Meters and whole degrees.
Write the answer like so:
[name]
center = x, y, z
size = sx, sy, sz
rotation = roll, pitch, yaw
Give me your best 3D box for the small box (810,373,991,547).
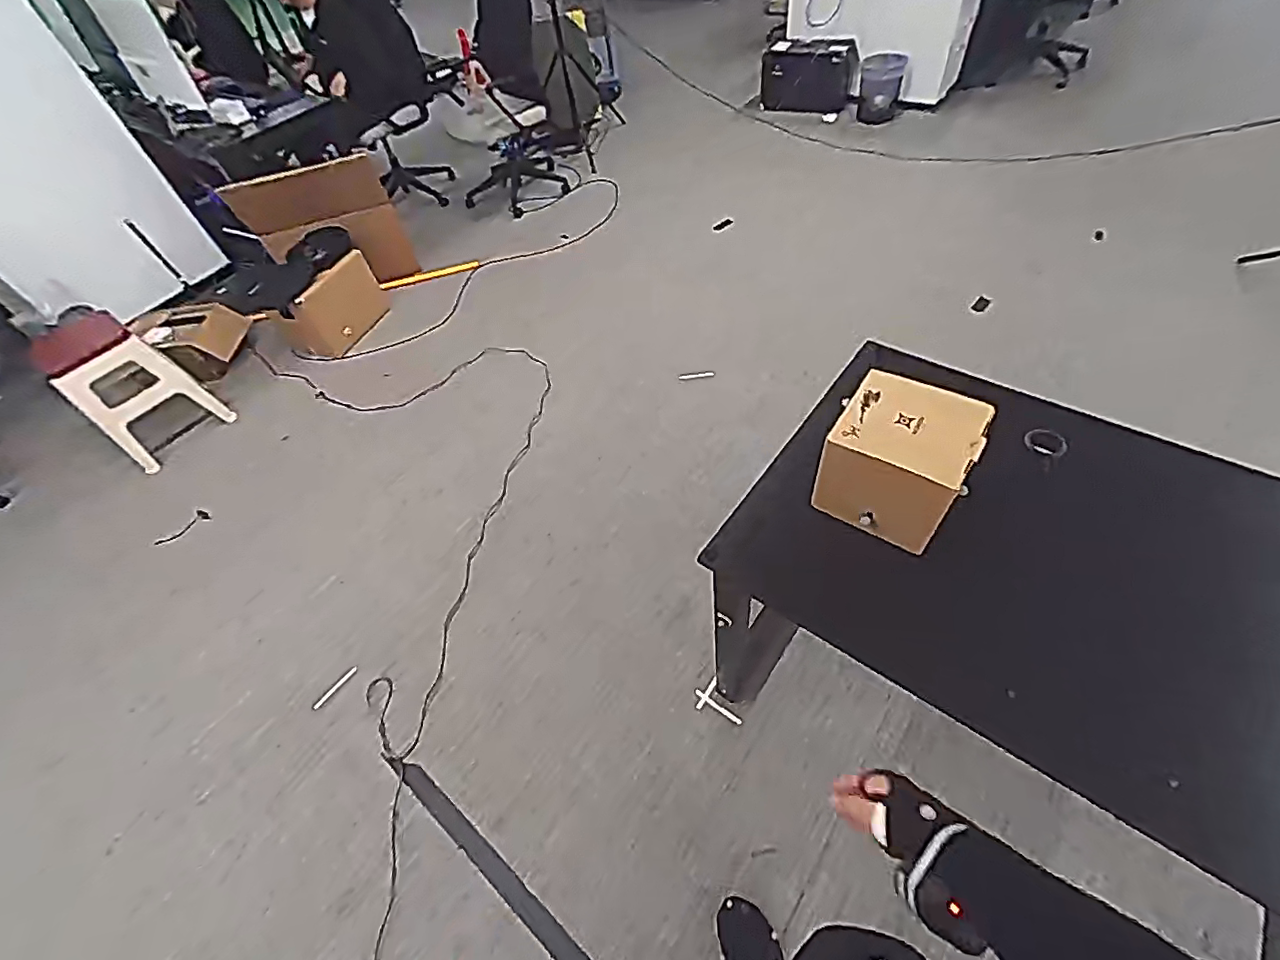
[small box]
center = 0.380, -0.023, 0.813
size = 0.179, 0.176, 0.168
rotation = 27, 61, 25
